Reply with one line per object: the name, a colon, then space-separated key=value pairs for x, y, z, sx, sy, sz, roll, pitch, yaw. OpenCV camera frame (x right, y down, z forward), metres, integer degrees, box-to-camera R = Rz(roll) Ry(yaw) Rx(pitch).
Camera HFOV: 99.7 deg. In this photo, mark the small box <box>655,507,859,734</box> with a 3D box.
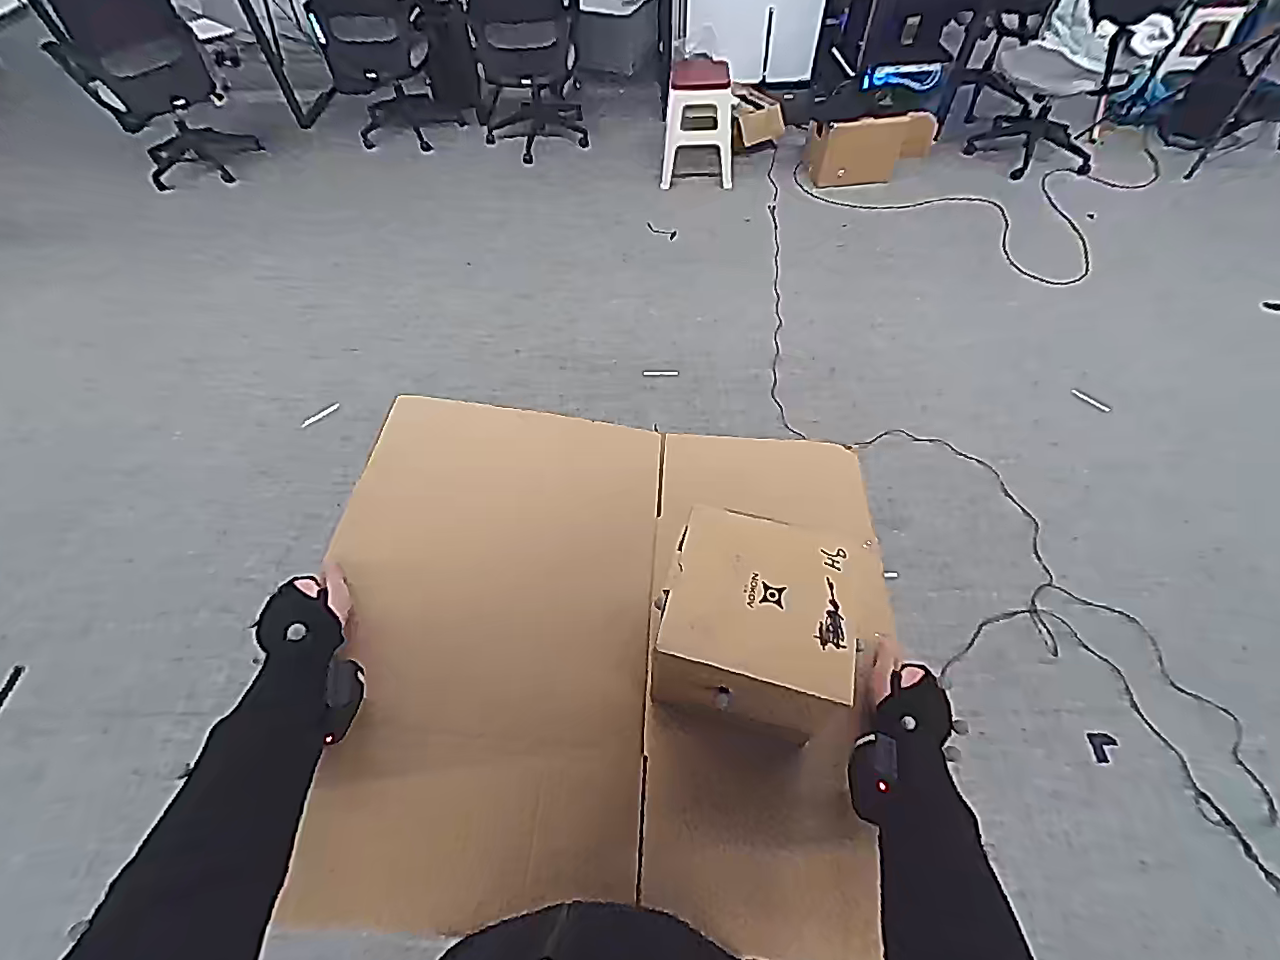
small box: x=0.120 y=0.156 z=0.584 sx=0.179 sy=0.176 sz=0.168 roll=12 pitch=55 yaw=11
